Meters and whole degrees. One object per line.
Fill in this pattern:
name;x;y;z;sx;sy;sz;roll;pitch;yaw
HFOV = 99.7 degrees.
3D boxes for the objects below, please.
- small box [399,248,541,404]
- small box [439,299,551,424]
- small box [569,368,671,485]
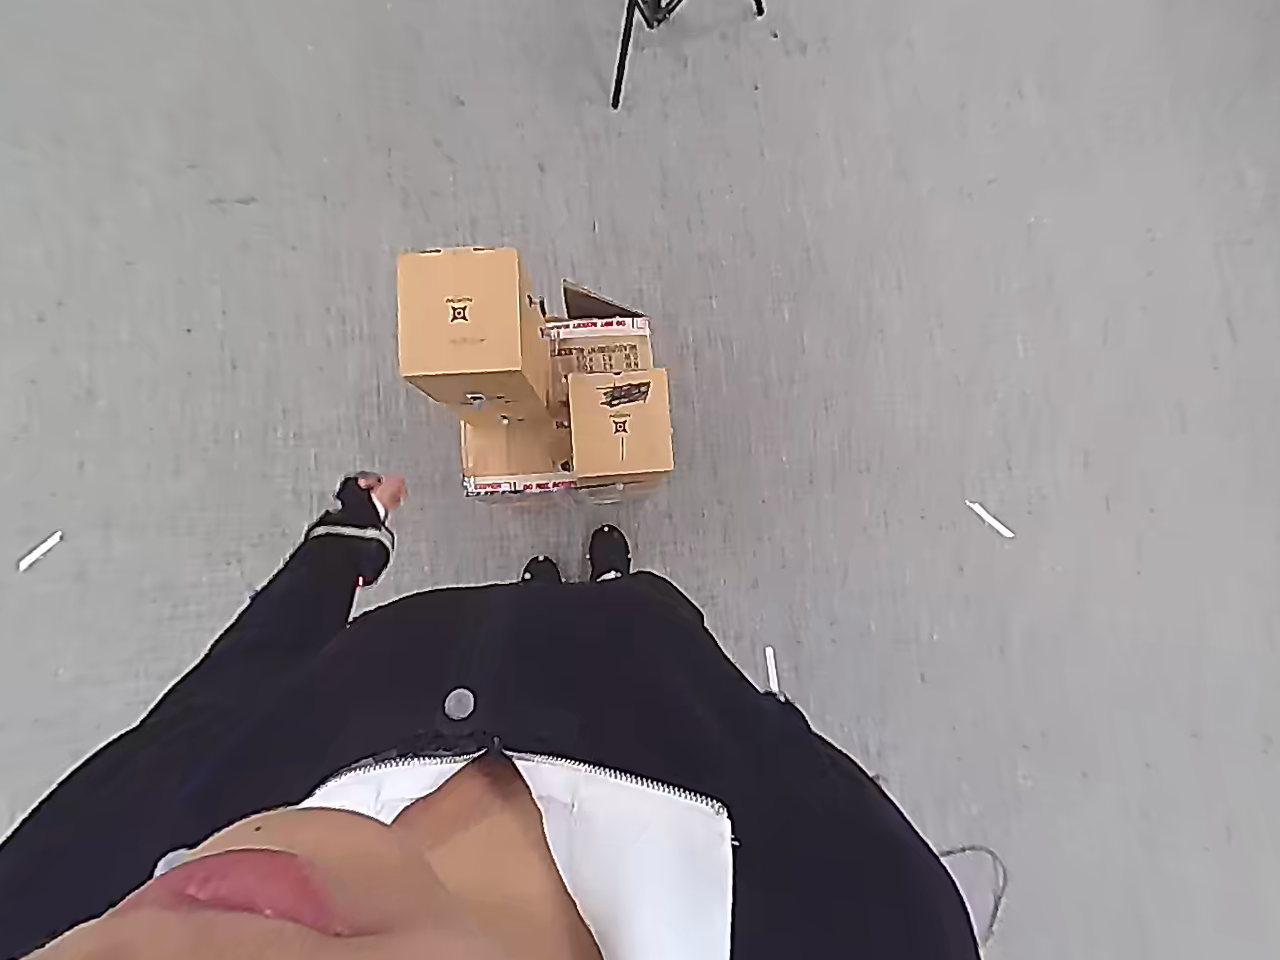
small box;-0.245;-0.221;0.810;0.168;0.176;0.179;-4;85;-2
small box;-0.254;-0.207;0.971;0.168;0.176;0.179;-4;85;-2
small box;-0.041;-0.090;0.973;0.168;0.176;0.179;-4;85;-4
